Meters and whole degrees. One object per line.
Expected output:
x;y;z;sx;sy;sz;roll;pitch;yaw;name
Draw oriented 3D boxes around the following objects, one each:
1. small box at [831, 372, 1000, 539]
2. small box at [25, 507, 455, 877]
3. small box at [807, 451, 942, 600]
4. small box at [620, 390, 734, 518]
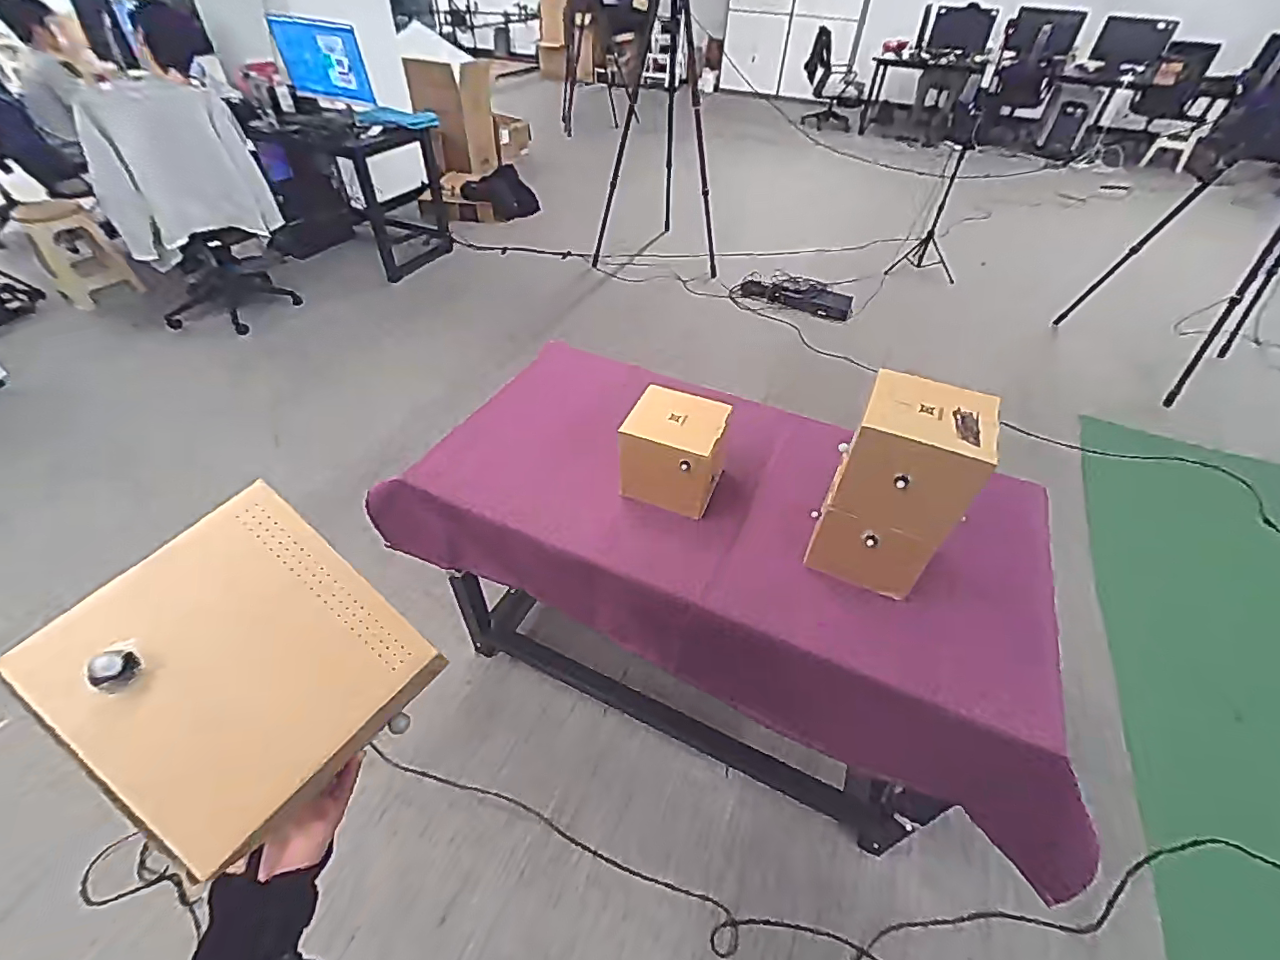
0.416;-0.034;0.829;0.179;0.176;0.168;20;47;18;small box
-0.267;0.140;0.415;0.179;0.168;0.176;44;65;2;small box
0.408;0.081;0.946;0.179;0.176;0.168;20;47;17;small box
0.069;-0.049;1.068;0.179;0.176;0.168;17;46;14;small box
